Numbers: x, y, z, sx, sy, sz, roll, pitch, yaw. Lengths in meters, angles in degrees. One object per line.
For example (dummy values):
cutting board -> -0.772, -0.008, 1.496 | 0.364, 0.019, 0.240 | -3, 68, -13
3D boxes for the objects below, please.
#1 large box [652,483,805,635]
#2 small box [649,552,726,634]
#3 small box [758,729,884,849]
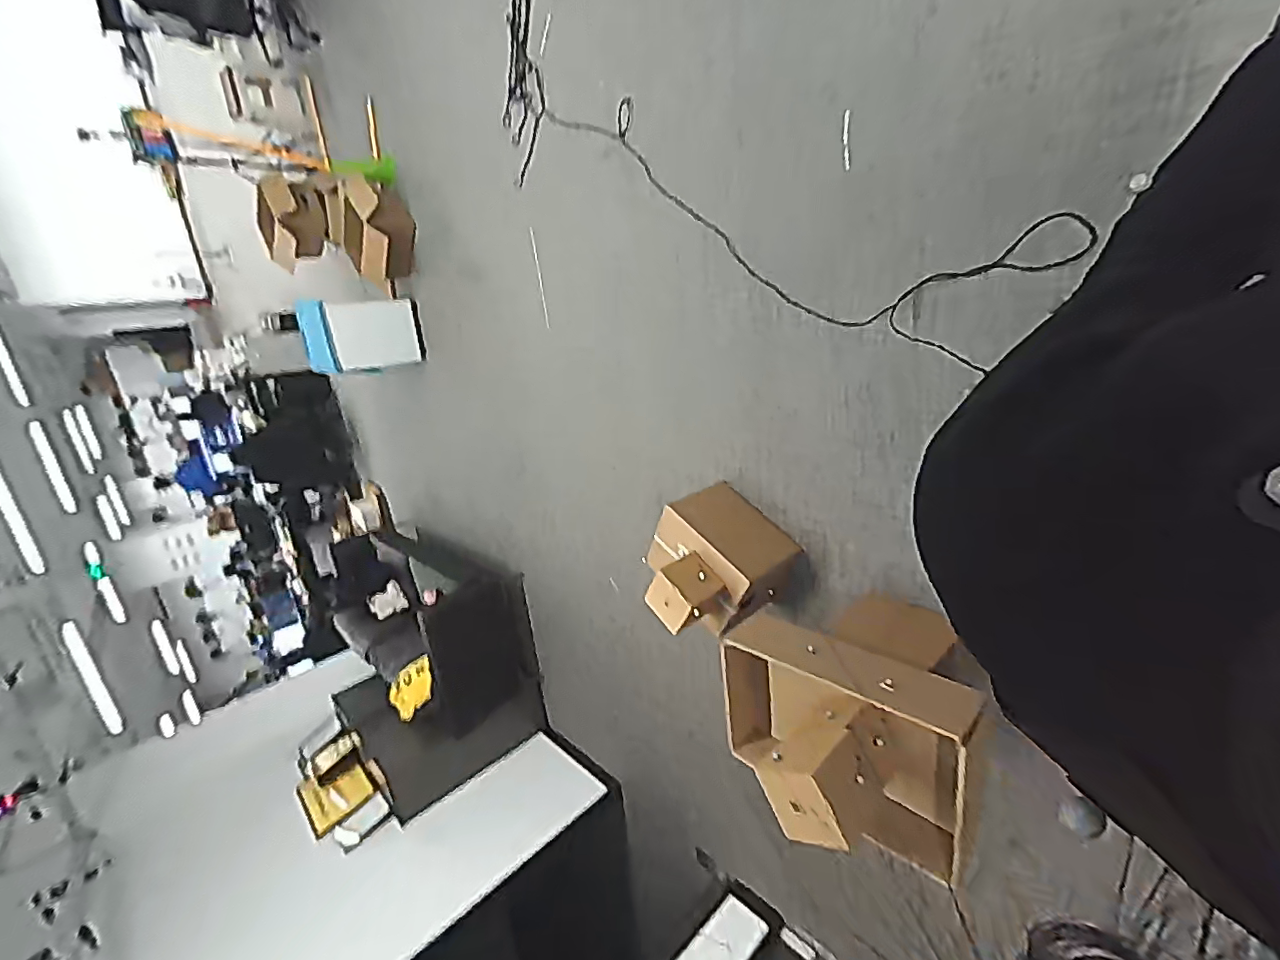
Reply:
large box -> 0.315, 0.275, 1.975 | 0.408, 0.320, 0.320 | 44, 135, 30
small box -> 0.161, 0.375, 1.808 | 0.168, 0.176, 0.179 | 47, 137, 26
small box -> 0.408, 0.682, 1.217 | 0.179, 0.176, 0.168 | -33, 81, 50
